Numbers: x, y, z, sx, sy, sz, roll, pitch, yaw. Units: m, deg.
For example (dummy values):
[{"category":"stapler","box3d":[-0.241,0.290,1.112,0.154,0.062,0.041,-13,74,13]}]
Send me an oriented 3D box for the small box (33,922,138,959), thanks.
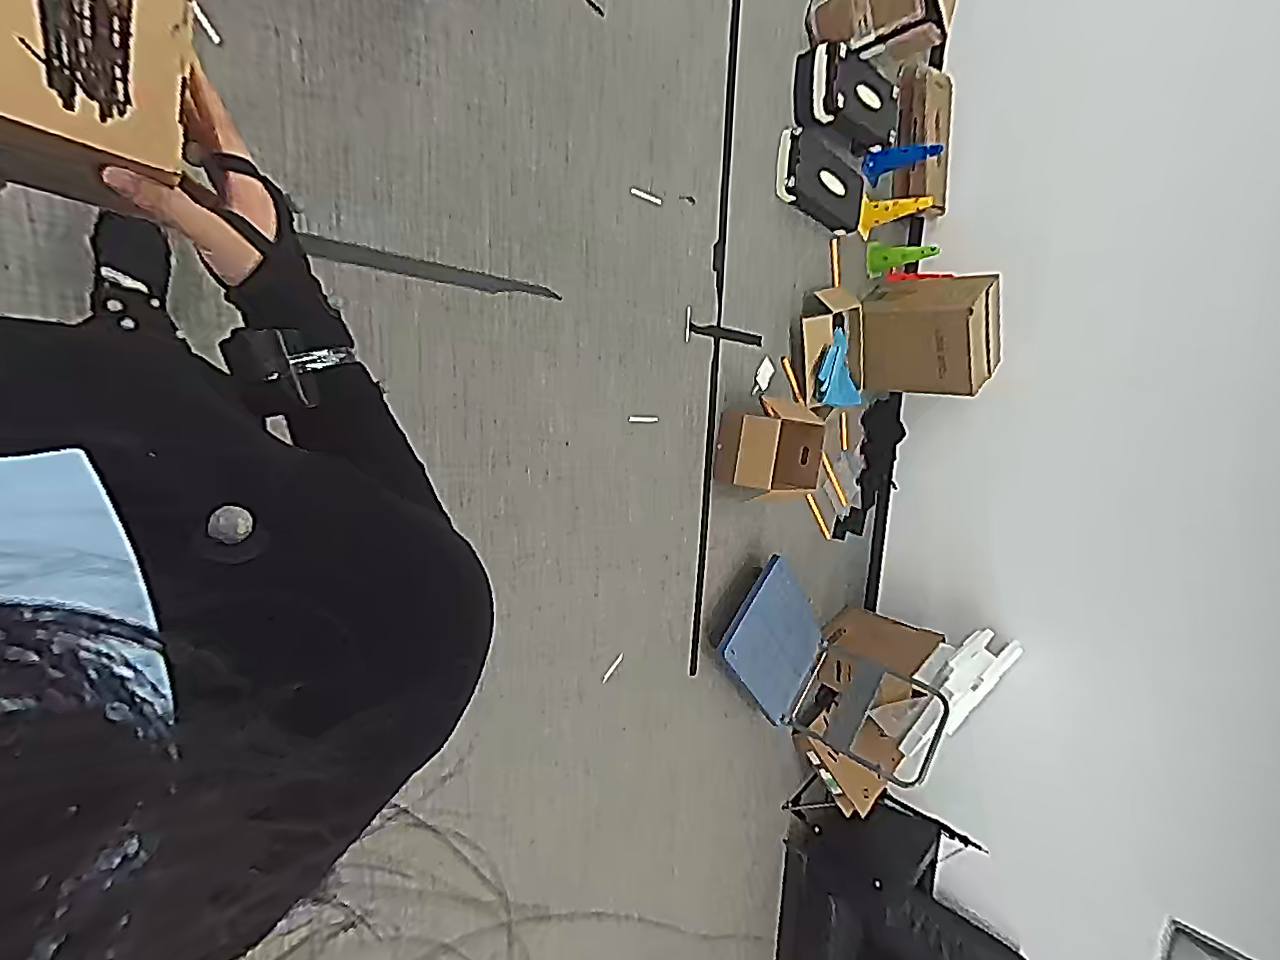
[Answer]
[{"category":"small box","box3d":[-1.149,1.071,1.116,0.168,0.176,0.179,-8,104,-44]}]
